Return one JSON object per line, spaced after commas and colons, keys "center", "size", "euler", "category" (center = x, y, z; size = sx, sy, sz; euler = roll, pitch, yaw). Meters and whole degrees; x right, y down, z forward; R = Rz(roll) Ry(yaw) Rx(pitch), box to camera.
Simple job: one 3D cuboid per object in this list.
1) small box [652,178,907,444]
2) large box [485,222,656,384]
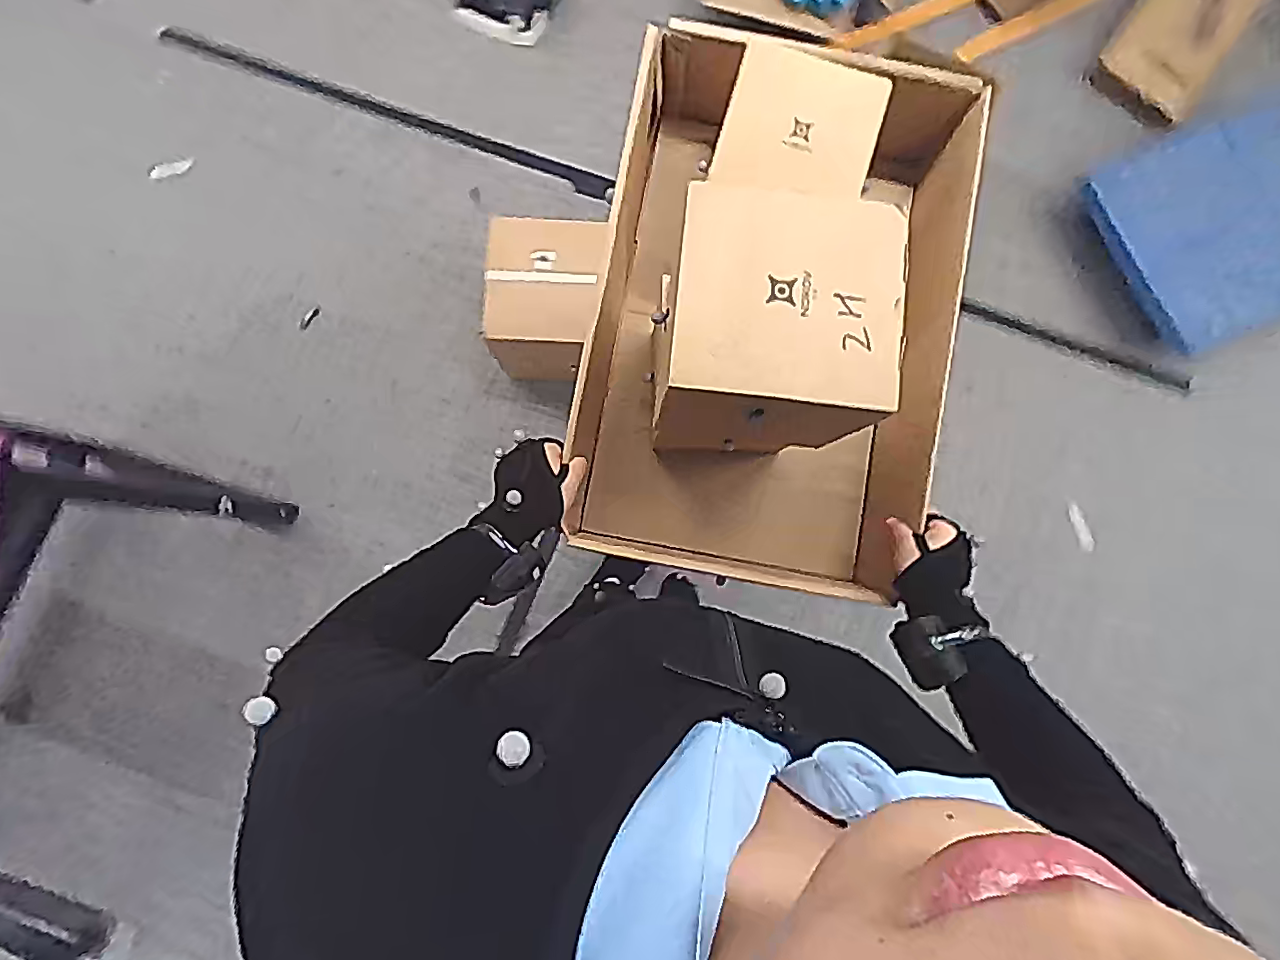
{"center": [0.106, -0.130, 0.479], "size": [0.179, 0.176, 0.168], "euler": [6, 84, -2], "category": "small box"}
{"center": [-0.163, -0.452, 1.443], "size": [0.408, 0.320, 0.320], "euler": [2, 81, 0], "category": "large box"}
